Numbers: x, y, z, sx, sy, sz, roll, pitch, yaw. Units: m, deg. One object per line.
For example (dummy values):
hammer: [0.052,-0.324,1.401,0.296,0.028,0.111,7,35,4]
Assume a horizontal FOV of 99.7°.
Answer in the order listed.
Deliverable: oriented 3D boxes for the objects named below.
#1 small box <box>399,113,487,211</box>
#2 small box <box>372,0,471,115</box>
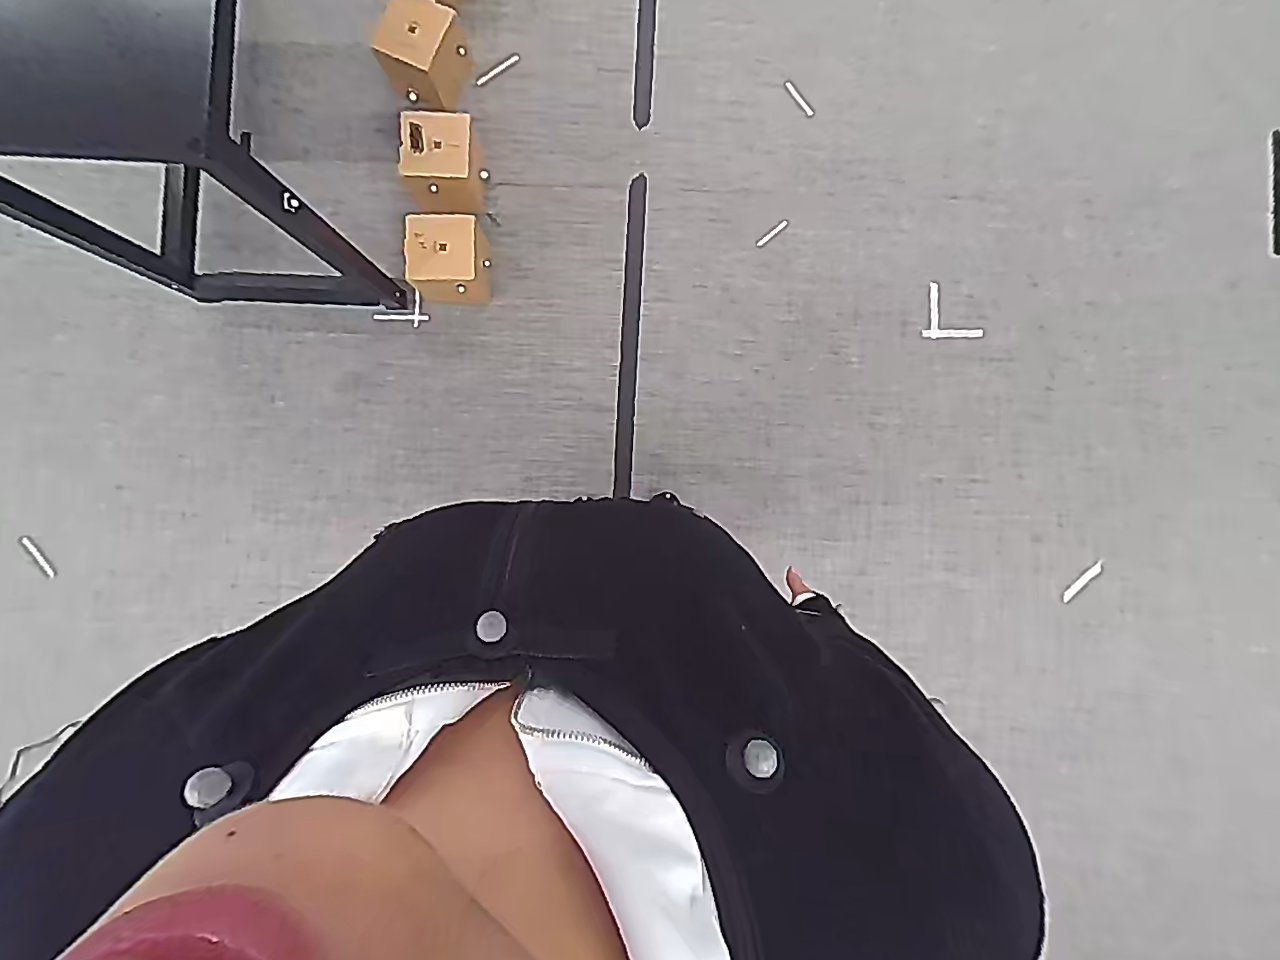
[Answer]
small box: [-0.519,-0.840,1.444,0.179,0.176,0.168,1,89,-2]
small box: [-0.573,-1.137,1.450,0.168,0.176,0.179,23,90,1]
